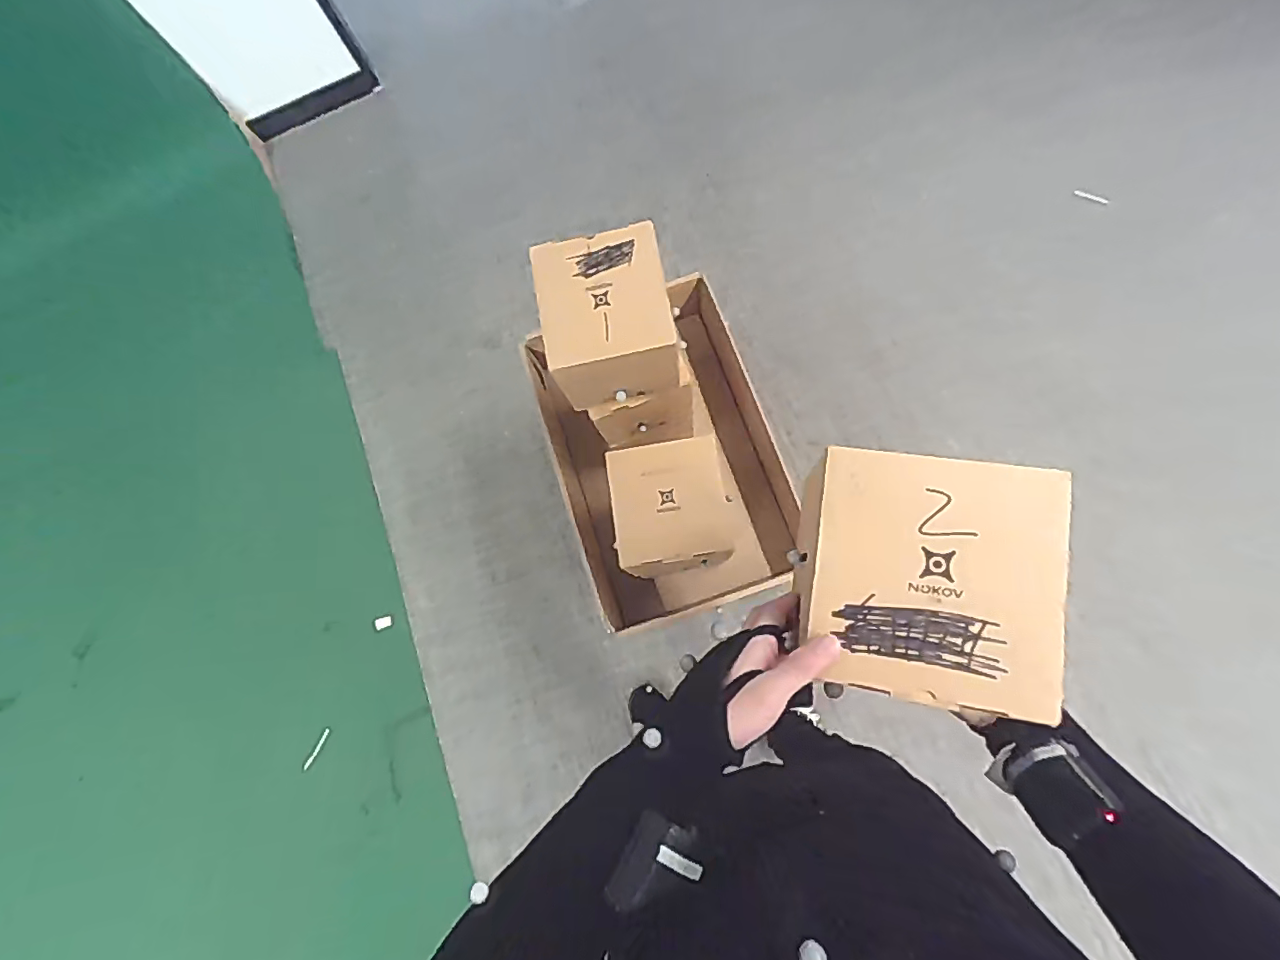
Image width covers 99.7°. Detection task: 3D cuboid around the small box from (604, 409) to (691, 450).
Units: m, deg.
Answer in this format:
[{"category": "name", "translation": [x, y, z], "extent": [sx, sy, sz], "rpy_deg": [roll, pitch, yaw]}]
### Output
[{"category": "small box", "translation": [-0.003, -0.153, 1.079], "extent": [0.168, 0.176, 0.179], "rpy_deg": [-20, 77, 3]}]

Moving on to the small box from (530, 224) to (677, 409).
[{"category": "small box", "translation": [-0.044, -0.219, 0.762], "extent": [0.168, 0.176, 0.179], "rpy_deg": [-11, 79, 4]}]

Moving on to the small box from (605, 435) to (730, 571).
[{"category": "small box", "translation": [0.047, 0.046, 0.856], "extent": [0.168, 0.176, 0.179], "rpy_deg": [-9, 75, 4]}]

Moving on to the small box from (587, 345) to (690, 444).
[{"category": "small box", "translation": [-0.021, -0.183, 0.921], "extent": [0.168, 0.176, 0.179], "rpy_deg": [-20, 78, 1]}]
